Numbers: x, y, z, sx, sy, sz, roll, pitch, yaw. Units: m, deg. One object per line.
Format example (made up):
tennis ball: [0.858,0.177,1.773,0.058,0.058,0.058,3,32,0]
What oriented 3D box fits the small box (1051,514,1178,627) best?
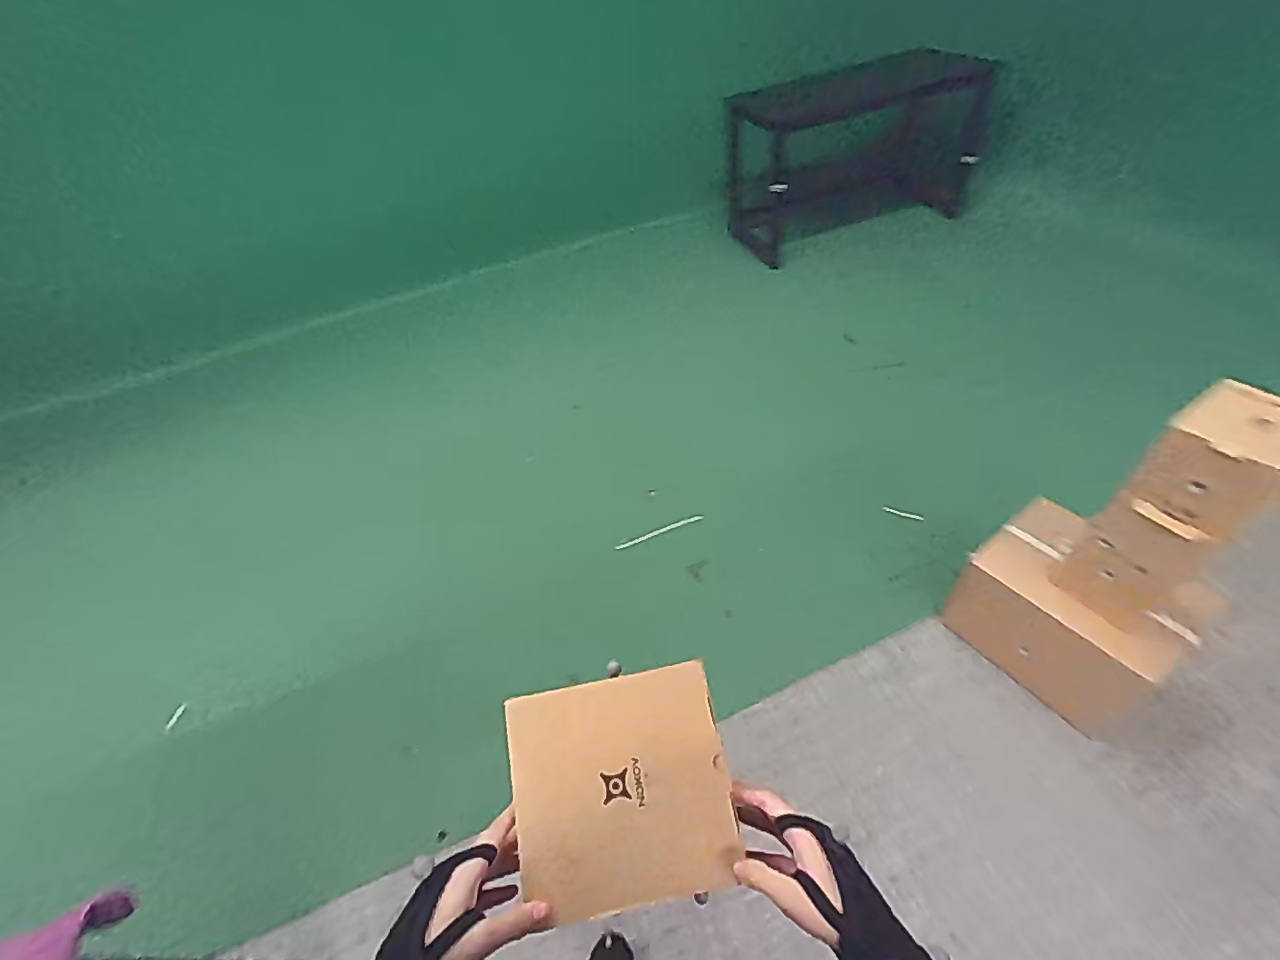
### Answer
small box: [1.043,0.179,1.164,0.168,0.176,0.179,-30,49,-15]

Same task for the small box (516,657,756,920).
small box: [-0.008,0.275,0.510,0.179,0.176,0.168,-9,66,-5]

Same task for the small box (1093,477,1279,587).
small box: [1.027,0.072,1.040,0.179,0.176,0.168,-29,48,-14]

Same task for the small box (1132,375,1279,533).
small box: [1.003,-0.042,0.925,0.179,0.176,0.168,-31,49,-14]

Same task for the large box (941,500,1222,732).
large box: [1.062,0.331,1.357,0.320,0.320,0.408,-31,48,-19]
